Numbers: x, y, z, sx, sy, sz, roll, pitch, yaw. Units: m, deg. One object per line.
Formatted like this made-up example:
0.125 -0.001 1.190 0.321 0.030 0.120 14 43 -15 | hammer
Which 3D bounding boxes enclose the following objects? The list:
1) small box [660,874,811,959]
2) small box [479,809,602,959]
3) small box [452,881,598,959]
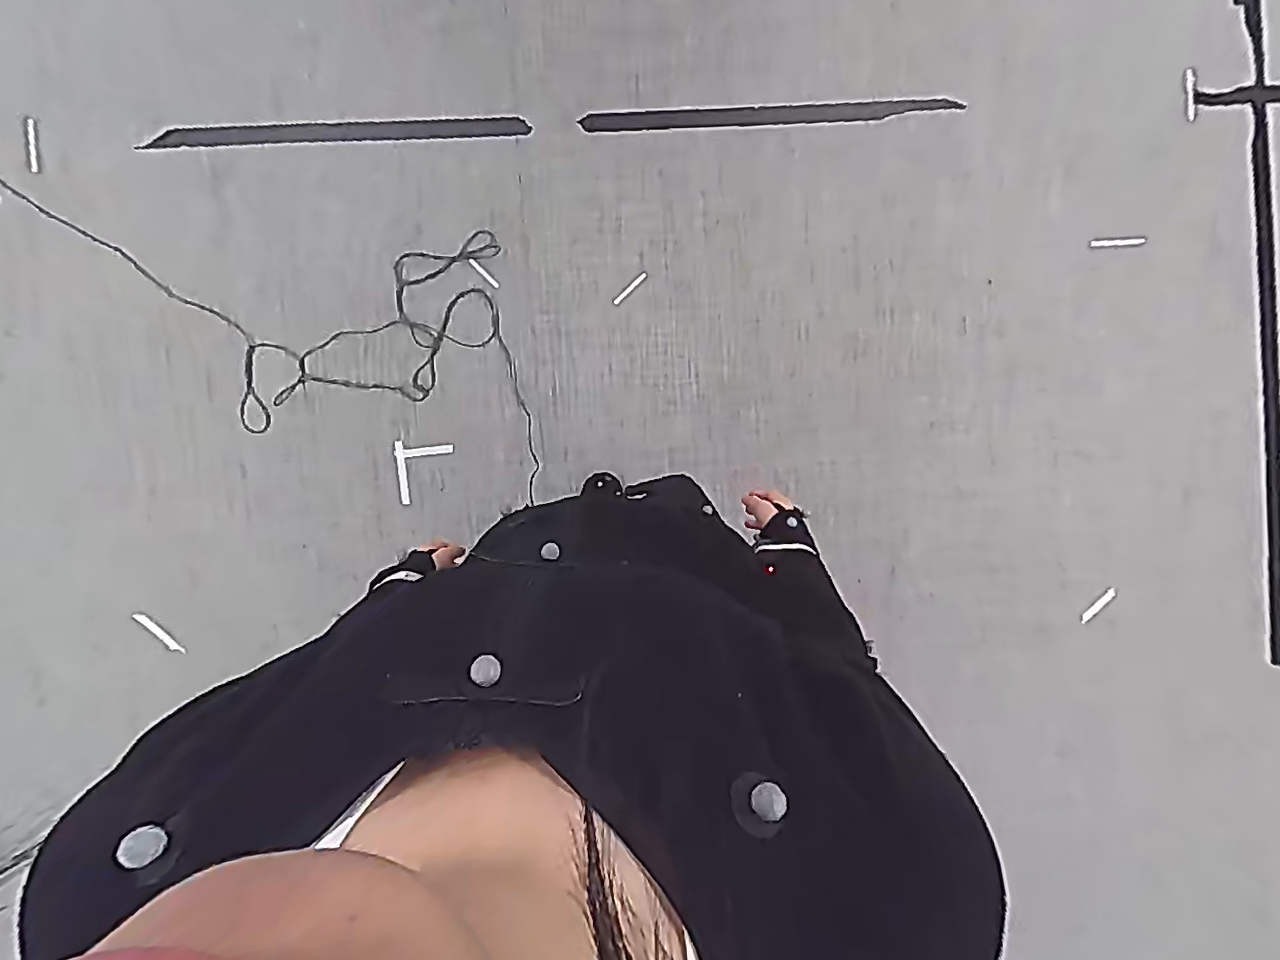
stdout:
0.116 0.628 0.671 0.168 0.176 0.179 -5 92 -1 | small box
-0.144 0.635 0.833 0.168 0.176 0.179 -1 92 -2 | small box
-0.138 0.644 0.667 0.168 0.176 0.179 -2 91 -2 | small box
